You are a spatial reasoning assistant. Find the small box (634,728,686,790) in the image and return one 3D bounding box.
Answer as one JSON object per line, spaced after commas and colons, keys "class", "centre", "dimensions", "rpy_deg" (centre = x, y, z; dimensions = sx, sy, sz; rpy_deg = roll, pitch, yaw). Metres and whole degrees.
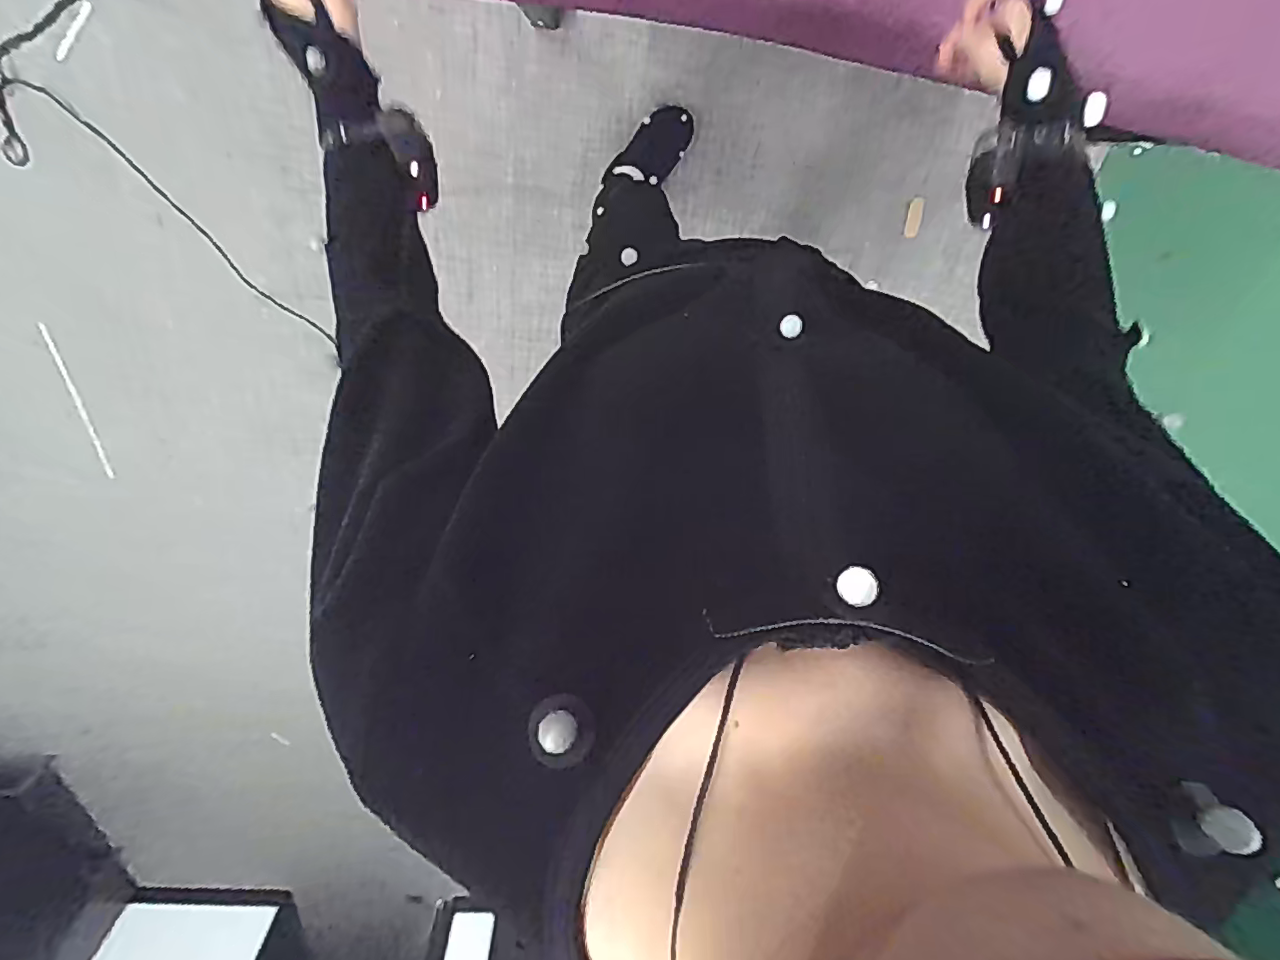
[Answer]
{"class": "small box", "centre": [0.080, 1.196, 2.328], "dimensions": [0.179, 0.176, 0.168], "rpy_deg": [16, 120, -12]}
